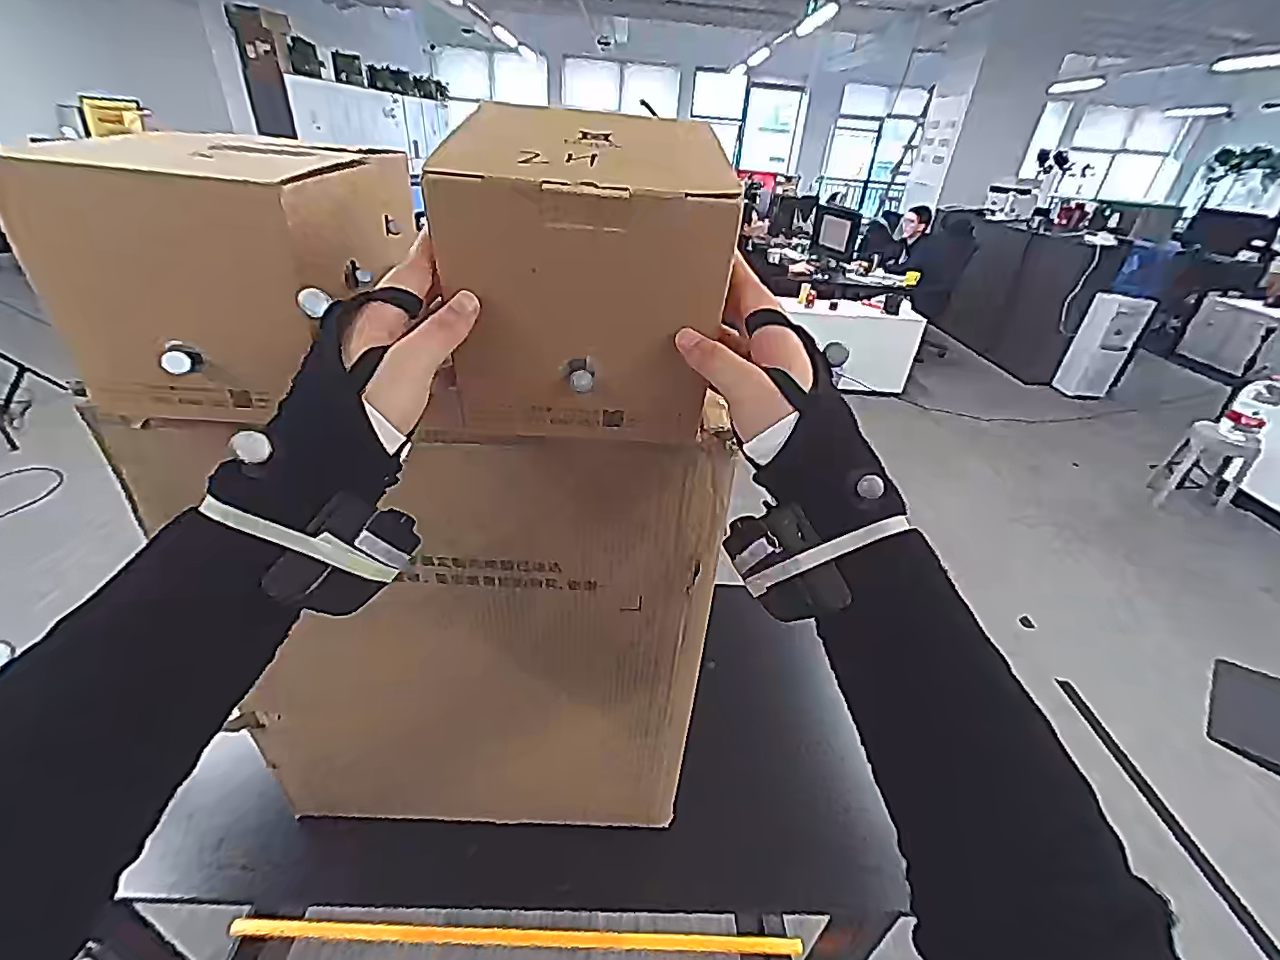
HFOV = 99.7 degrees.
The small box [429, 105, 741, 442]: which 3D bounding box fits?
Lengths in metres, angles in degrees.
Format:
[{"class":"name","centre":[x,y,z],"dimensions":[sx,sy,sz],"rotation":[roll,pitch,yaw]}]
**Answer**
[{"class":"small box","centre":[-0.035,-0.149,0.393],"dimensions":[0.168,0.176,0.179],"rotation":[2,44,-4]}]
